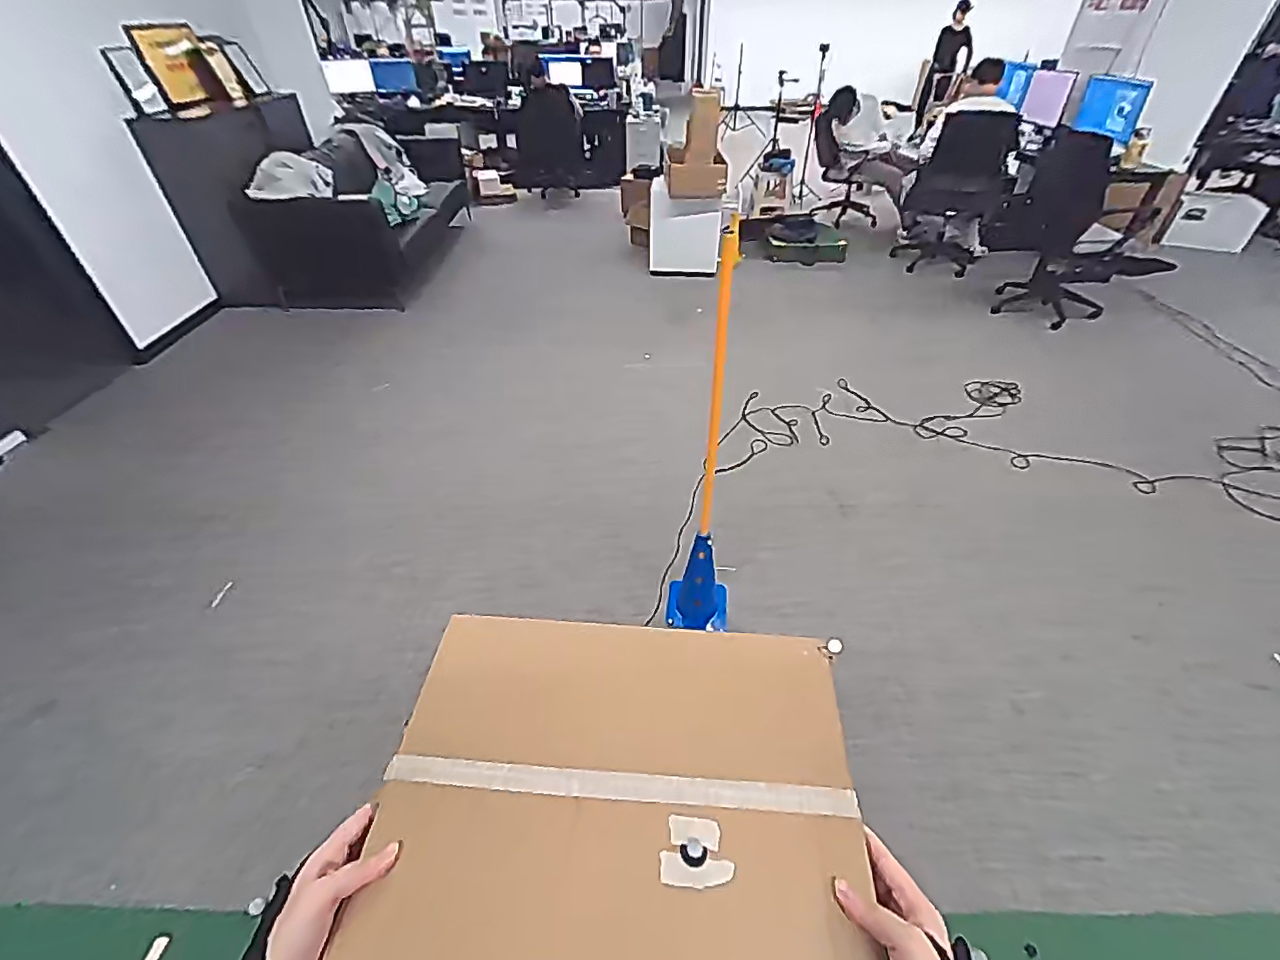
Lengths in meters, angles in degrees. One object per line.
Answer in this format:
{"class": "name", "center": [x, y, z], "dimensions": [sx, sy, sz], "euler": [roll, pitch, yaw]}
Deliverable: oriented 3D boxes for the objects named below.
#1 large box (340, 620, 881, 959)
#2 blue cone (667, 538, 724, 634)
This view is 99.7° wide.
{"class": "large box", "center": [-0.017, 0.376, 0.582], "dimensions": [0.408, 0.320, 0.320], "euler": [3, 45, 3]}
{"class": "blue cone", "center": [0.189, 0.318, 1.731], "dimensions": [0.193, 0.380, 0.192], "euler": [5, 41, 7]}
